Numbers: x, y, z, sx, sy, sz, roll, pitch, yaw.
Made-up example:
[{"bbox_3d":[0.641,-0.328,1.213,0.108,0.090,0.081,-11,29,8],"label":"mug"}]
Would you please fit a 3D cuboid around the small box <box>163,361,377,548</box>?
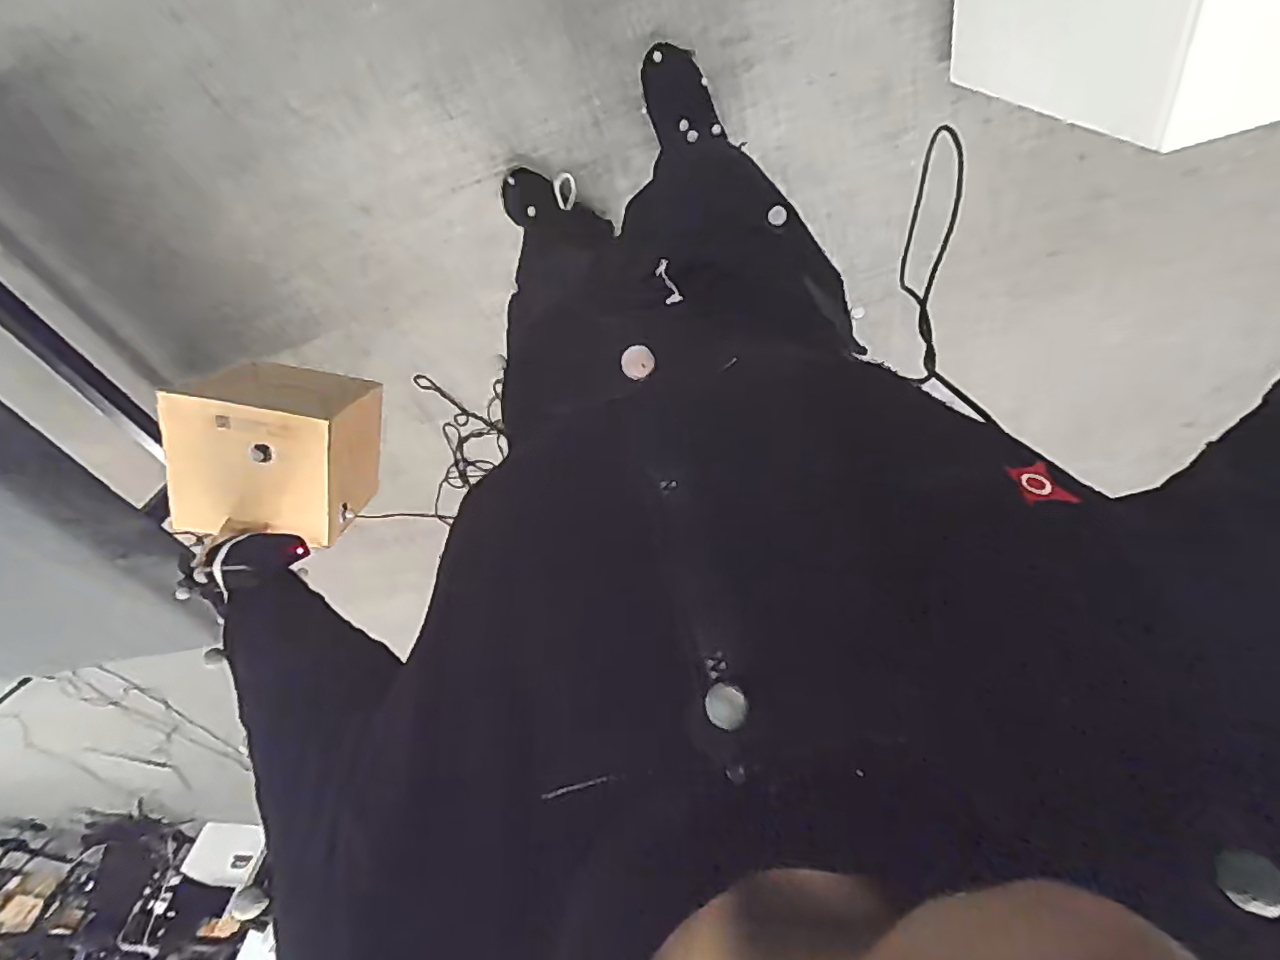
[{"bbox_3d":[-0.438,-0.041,0.668,0.168,0.179,0.176,9,112,-10],"label":"small box"}]
